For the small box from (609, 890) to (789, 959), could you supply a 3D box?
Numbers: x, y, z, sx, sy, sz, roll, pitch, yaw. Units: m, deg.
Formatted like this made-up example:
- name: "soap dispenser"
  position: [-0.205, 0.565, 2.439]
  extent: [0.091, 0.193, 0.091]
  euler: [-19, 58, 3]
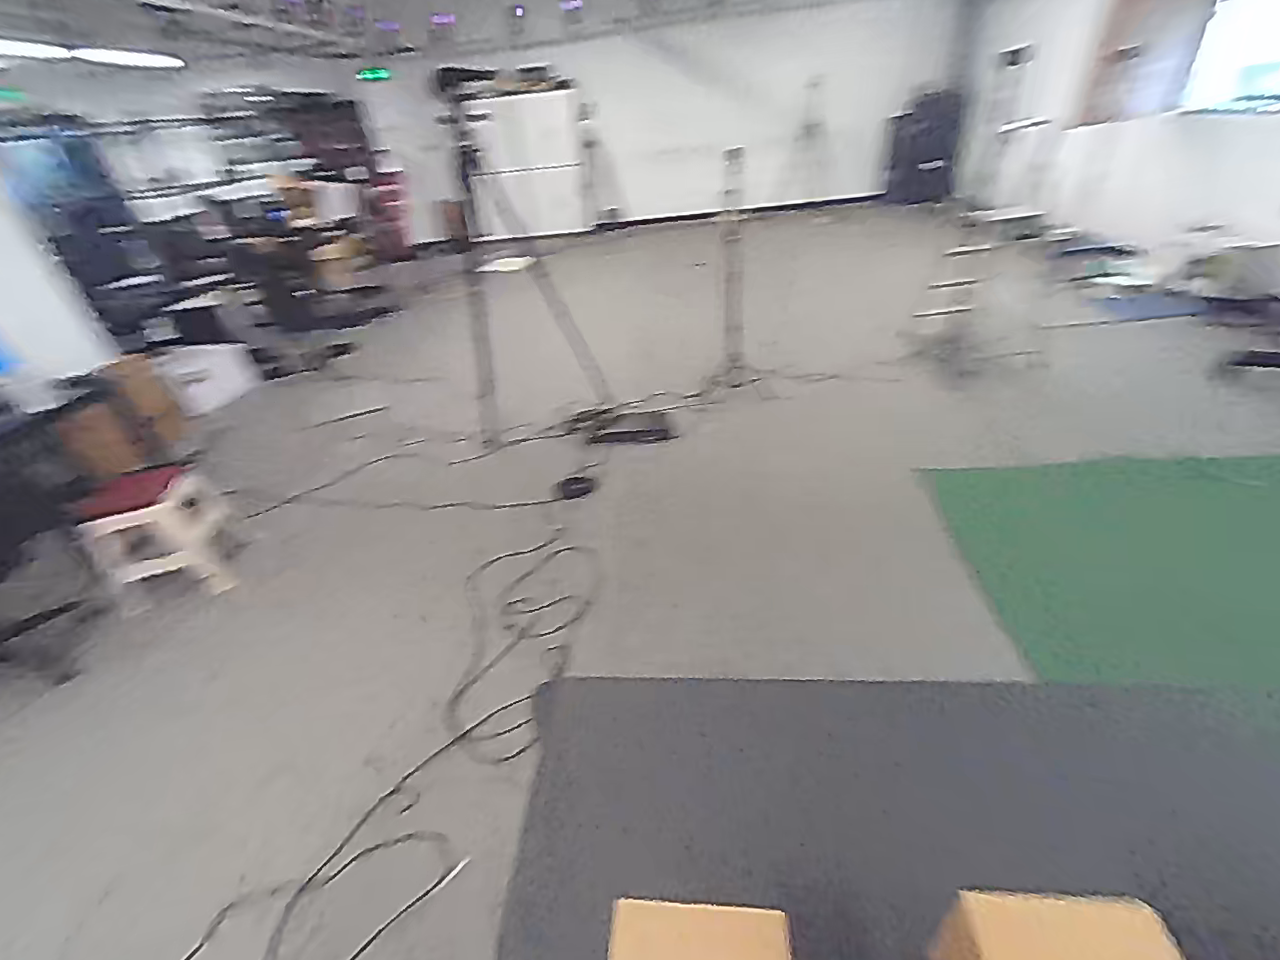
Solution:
- name: "small box"
  position: [0.055, 0.521, 0.503]
  extent: [0.168, 0.176, 0.179]
  euler: [-2, 35, 6]
